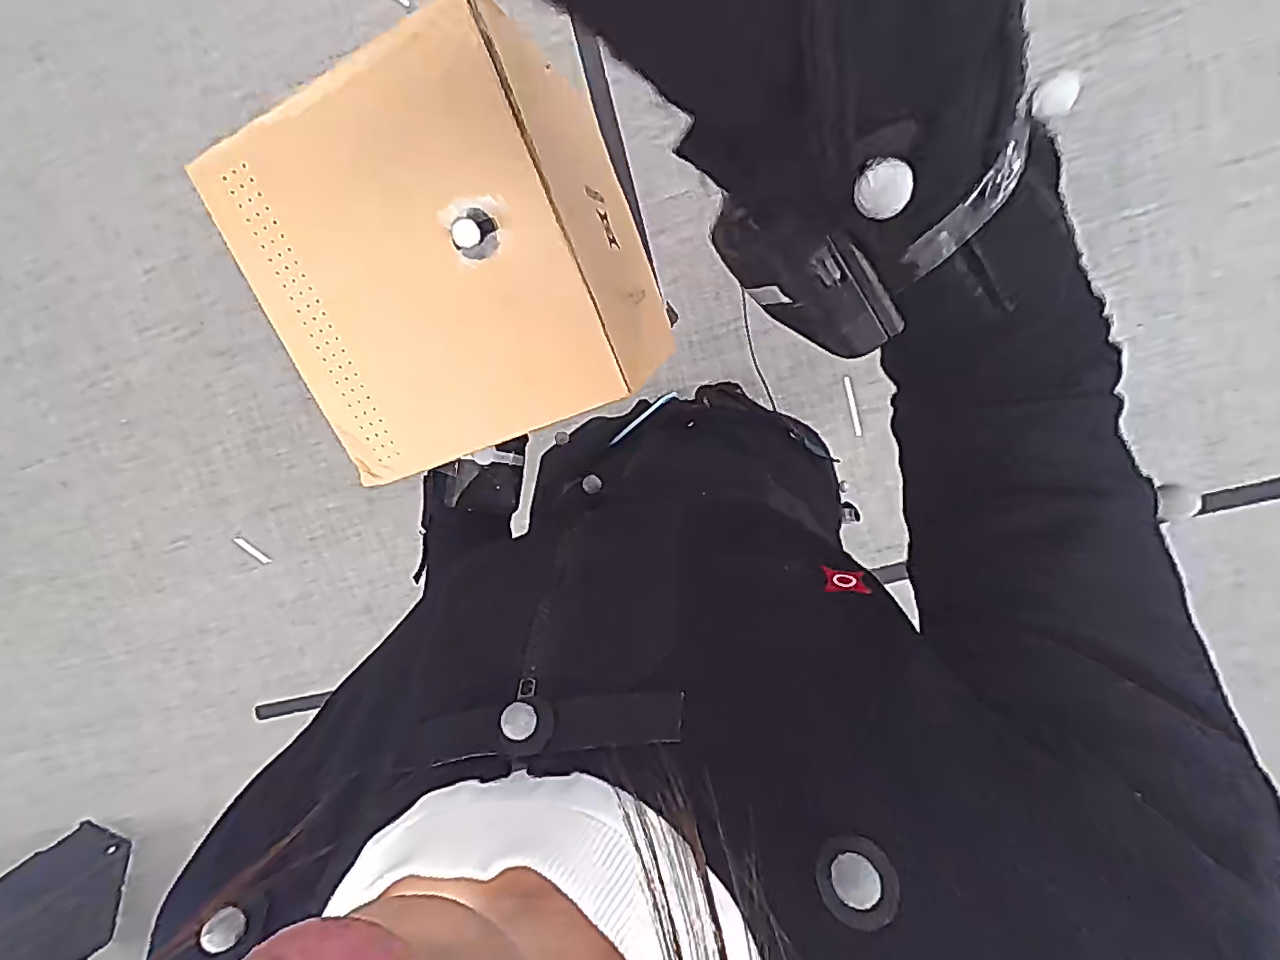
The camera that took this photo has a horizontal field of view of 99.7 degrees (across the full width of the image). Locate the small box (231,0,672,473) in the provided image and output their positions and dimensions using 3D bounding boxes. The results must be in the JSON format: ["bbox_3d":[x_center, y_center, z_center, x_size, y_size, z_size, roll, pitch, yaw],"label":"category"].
[{"bbox_3d":[-0.096,-0.127,0.341,0.176,0.168,0.179,-17,106,18],"label":"small box"}]
